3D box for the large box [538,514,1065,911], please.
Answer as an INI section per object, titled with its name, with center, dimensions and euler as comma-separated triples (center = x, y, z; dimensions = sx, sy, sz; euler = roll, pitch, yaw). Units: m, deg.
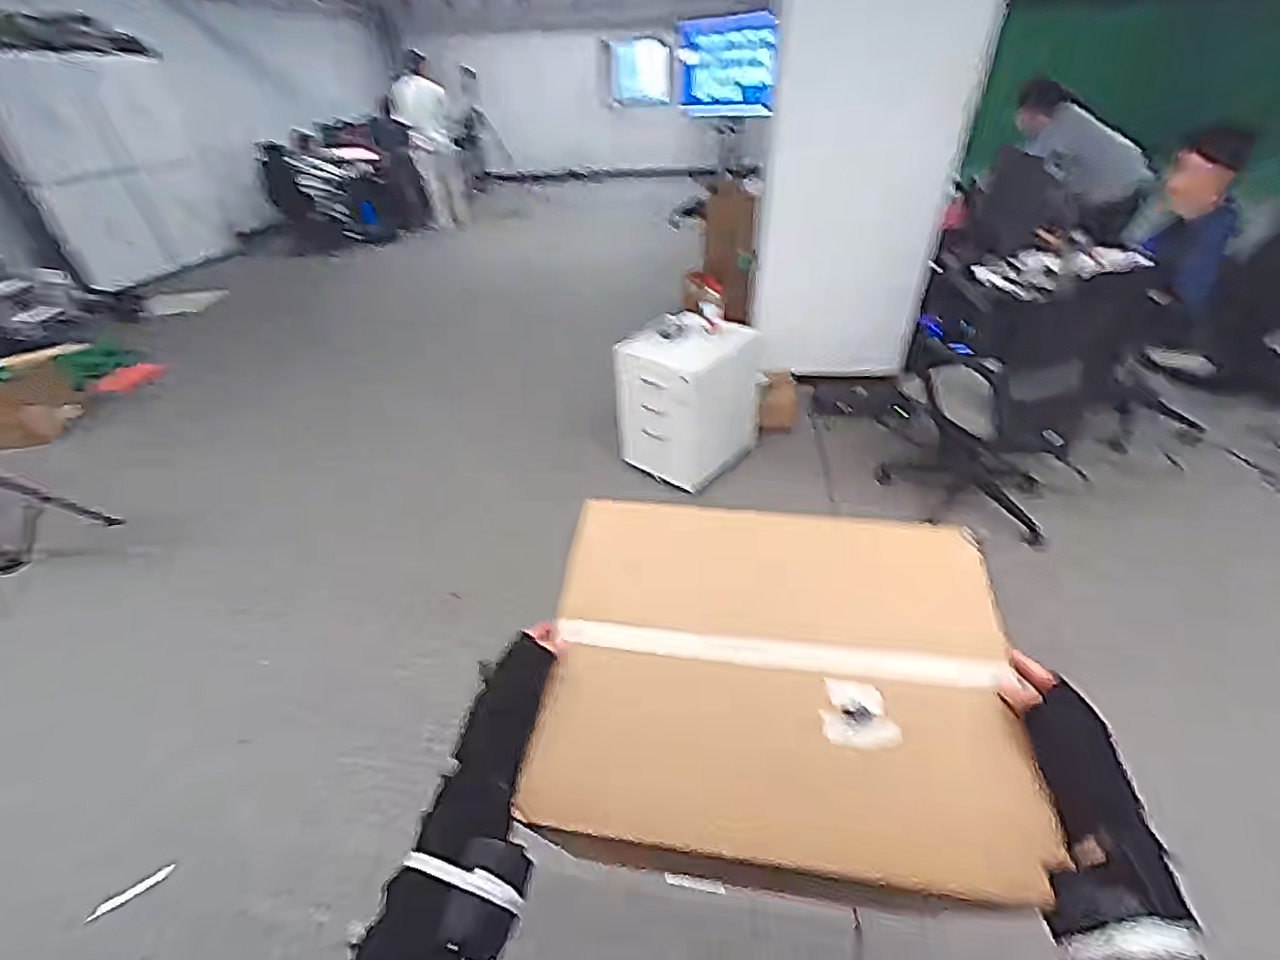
[large box]
center = 0.136, 0.264, 0.617
dimensions = 0.408, 0.320, 0.320
euler = 5, 52, 7
